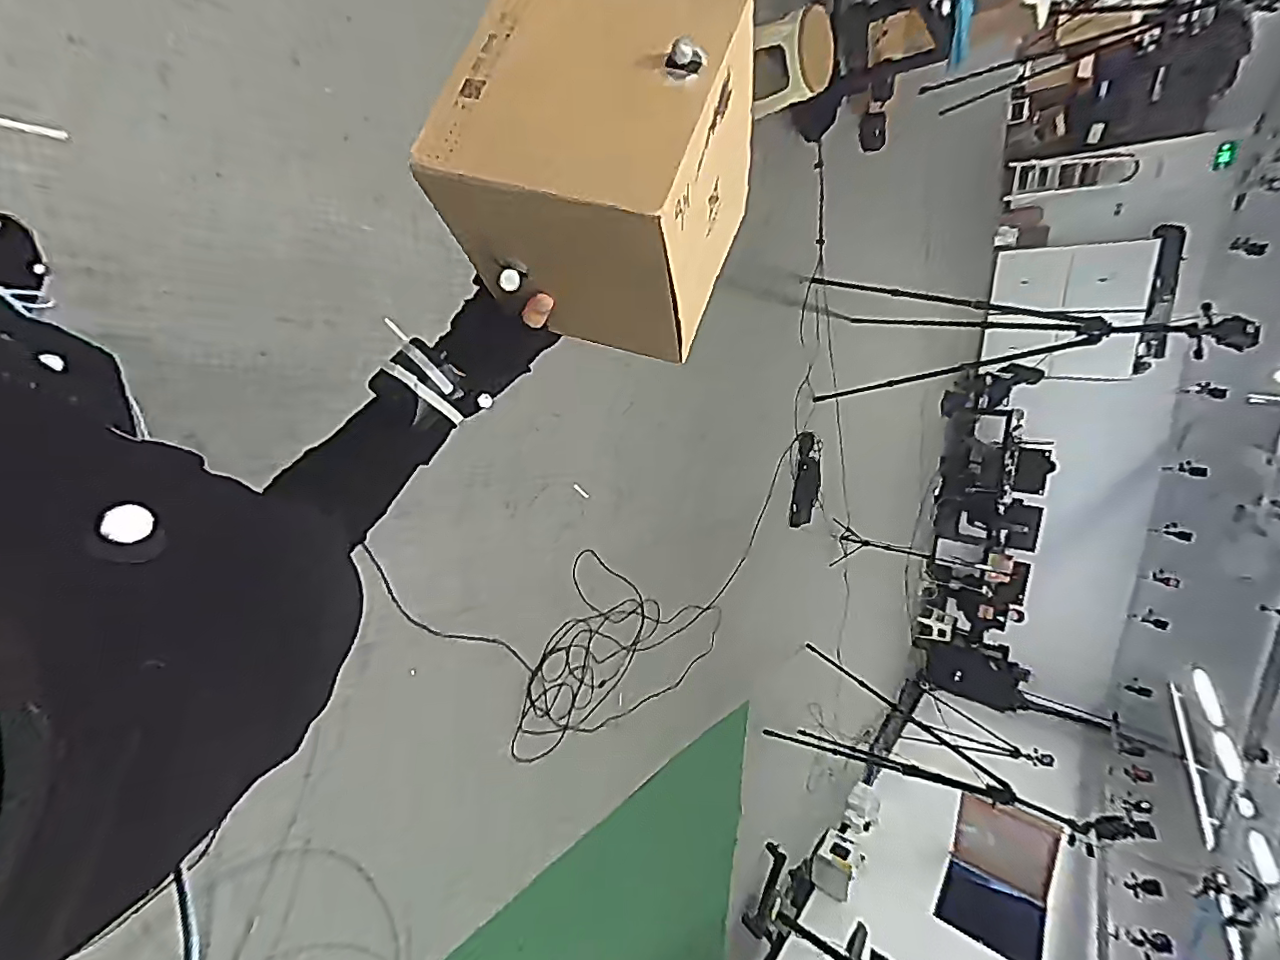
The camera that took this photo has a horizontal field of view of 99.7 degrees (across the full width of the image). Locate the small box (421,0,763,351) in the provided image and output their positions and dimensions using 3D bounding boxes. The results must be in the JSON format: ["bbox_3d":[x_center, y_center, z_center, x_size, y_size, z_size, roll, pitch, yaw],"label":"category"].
[{"bbox_3d":[-0.023,-0.226,0.401,0.179,0.176,0.168,64,45,-74],"label":"small box"}]
